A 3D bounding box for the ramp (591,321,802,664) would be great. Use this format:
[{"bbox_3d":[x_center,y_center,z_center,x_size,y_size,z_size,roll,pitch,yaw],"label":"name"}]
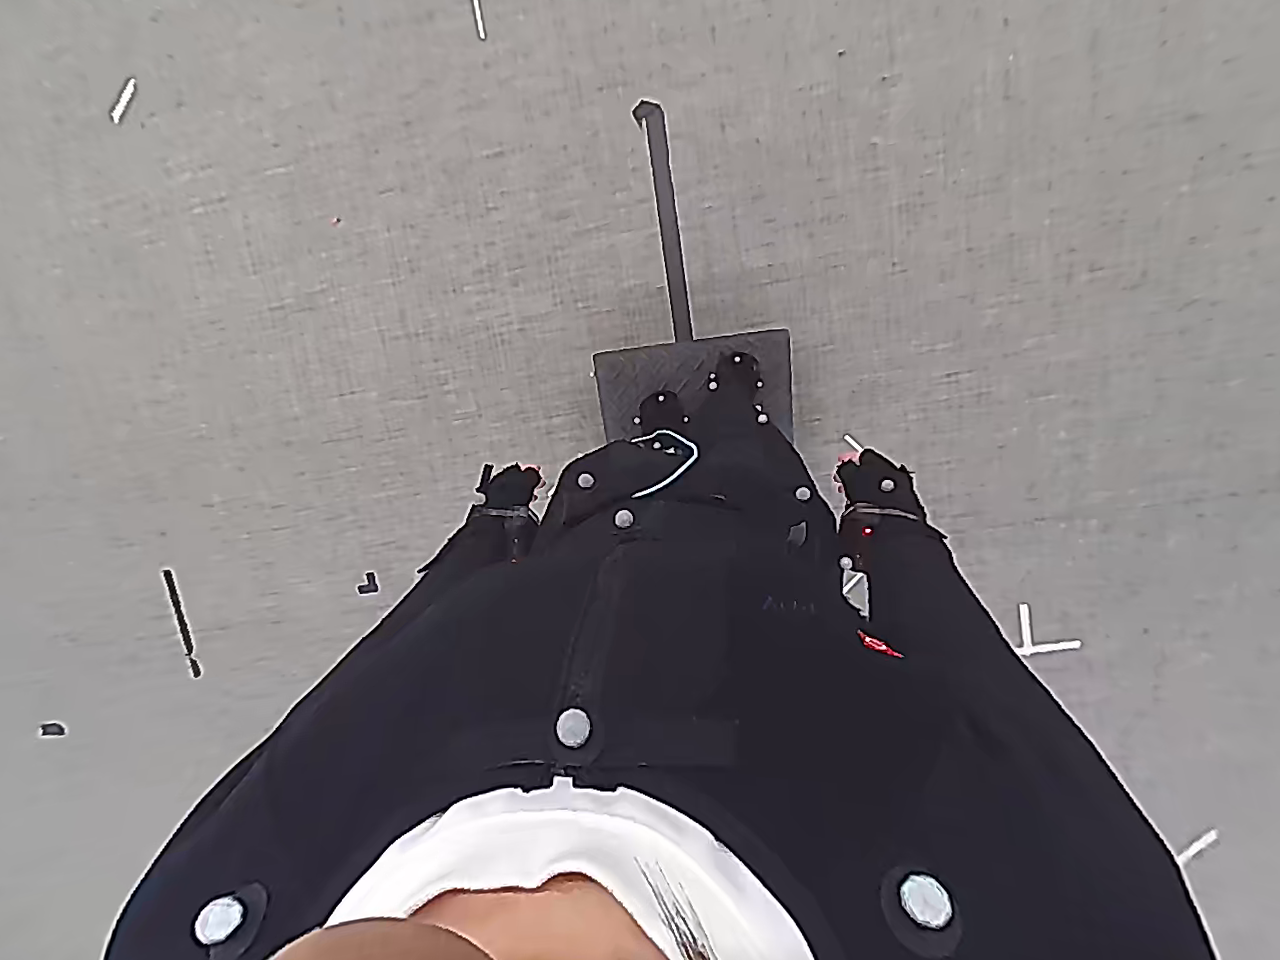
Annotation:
[{"bbox_3d":[0.188,0.097,1.507,0.509,0.206,0.991,-8,101,7],"label":"ramp"}]
